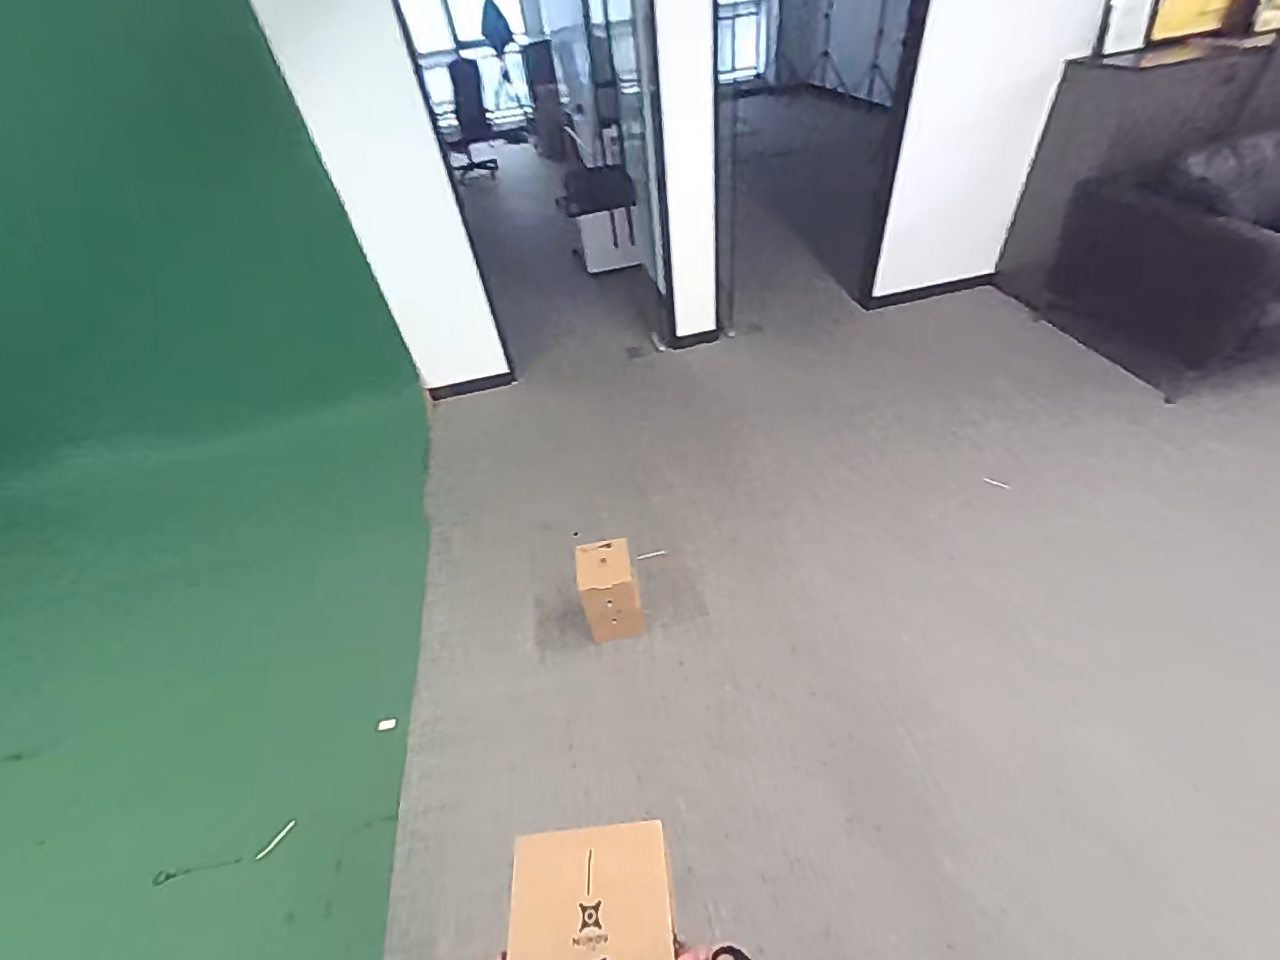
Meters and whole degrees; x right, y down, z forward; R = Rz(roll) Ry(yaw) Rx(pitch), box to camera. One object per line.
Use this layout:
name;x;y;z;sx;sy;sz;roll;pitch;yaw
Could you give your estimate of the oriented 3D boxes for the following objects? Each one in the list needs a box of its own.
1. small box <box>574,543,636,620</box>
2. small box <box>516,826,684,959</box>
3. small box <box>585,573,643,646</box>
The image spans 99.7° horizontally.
small box;-0.110;0.328;1.717;0.168;0.176;0.179;-9;45;-1
small box;-0.037;0.516;0.607;0.168;0.176;0.179;-6;43;0
small box;-0.090;0.442;1.832;0.179;0.176;0.168;-9;44;-1
